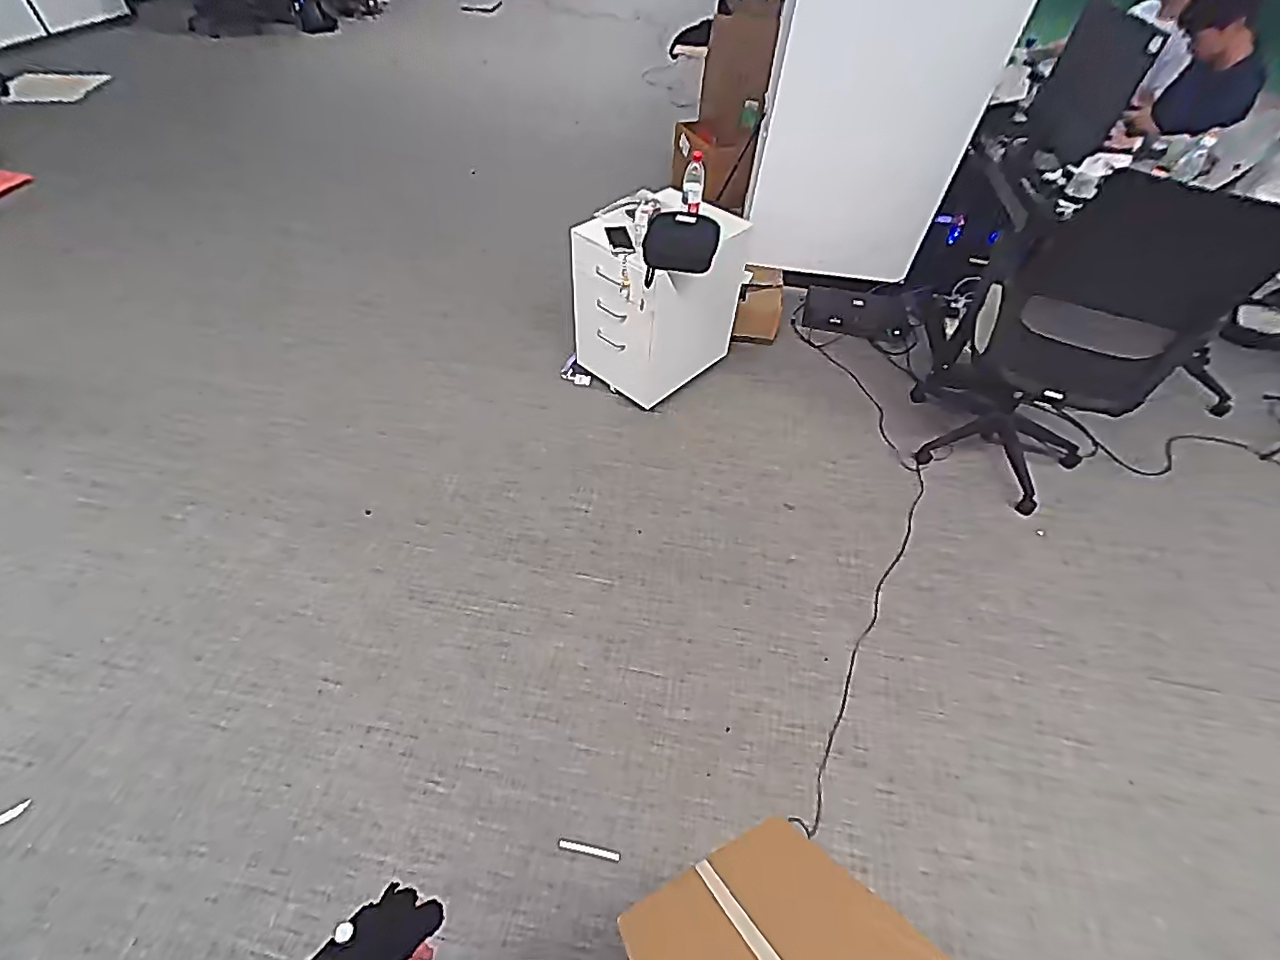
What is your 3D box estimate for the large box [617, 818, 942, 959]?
[{"bbox_3d":[0.206,0.741,0.695,0.320,0.408,0.320,-22,87,-17],"label":"large box"}]
